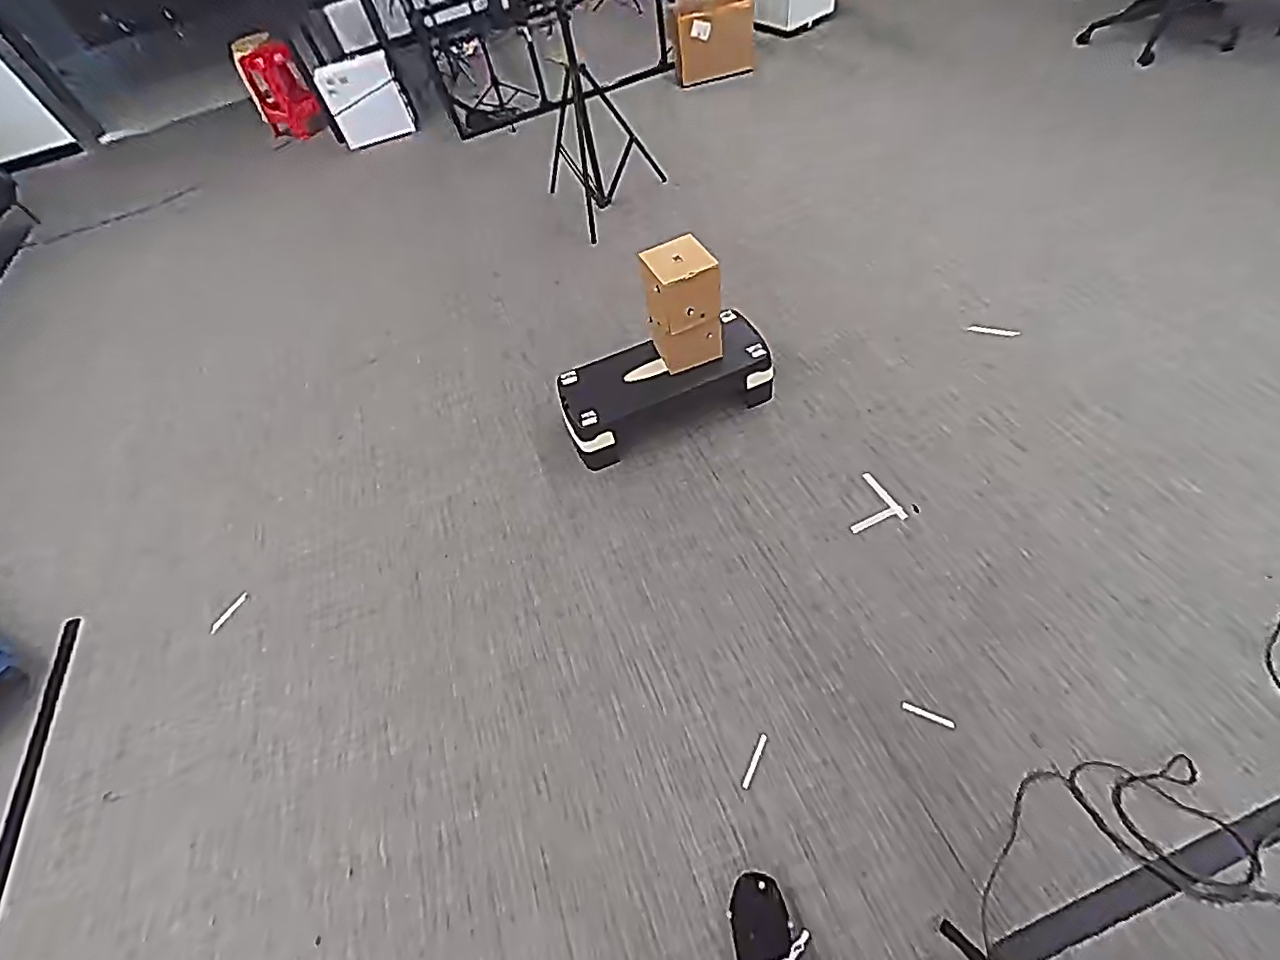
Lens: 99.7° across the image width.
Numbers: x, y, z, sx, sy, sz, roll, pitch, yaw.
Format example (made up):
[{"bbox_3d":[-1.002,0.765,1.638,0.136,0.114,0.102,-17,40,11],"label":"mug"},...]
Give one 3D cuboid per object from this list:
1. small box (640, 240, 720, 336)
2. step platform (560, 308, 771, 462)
[{"bbox_3d":[0.114,-0.539,1.528,0.168,0.176,0.179,-24,55,-7],"label":"small box"},{"bbox_3d":[0.083,-0.323,1.797,0.684,0.204,0.286,-23,53,-5],"label":"step platform"}]
